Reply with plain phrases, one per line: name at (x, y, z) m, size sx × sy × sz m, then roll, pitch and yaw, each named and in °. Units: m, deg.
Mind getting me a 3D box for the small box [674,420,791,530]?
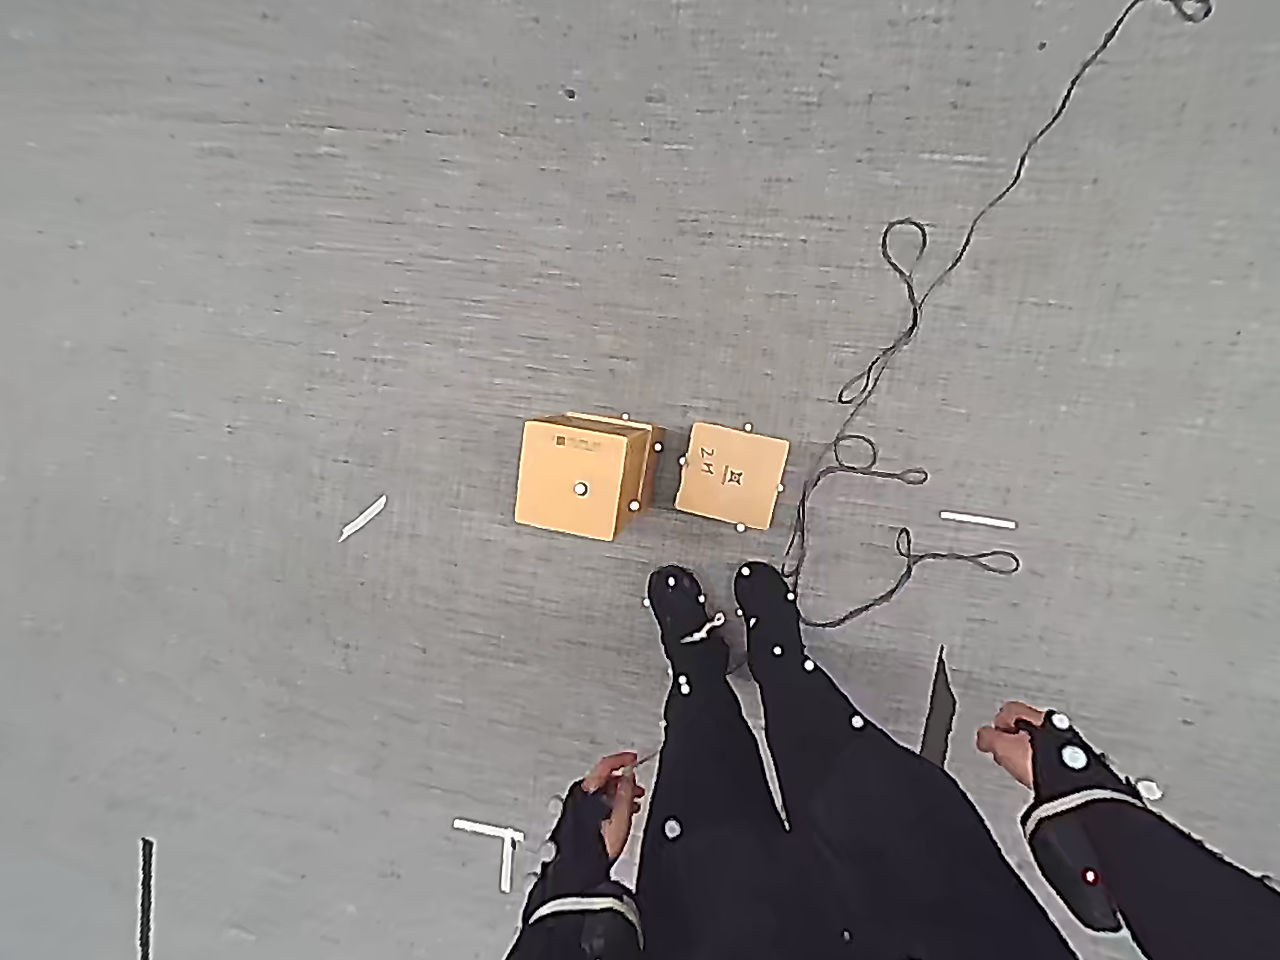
small box at (0.175, -0.015, 1.038) m, size 0.179 × 0.176 × 0.168 m, roll 14°, pitch 95°, yaw 9°
